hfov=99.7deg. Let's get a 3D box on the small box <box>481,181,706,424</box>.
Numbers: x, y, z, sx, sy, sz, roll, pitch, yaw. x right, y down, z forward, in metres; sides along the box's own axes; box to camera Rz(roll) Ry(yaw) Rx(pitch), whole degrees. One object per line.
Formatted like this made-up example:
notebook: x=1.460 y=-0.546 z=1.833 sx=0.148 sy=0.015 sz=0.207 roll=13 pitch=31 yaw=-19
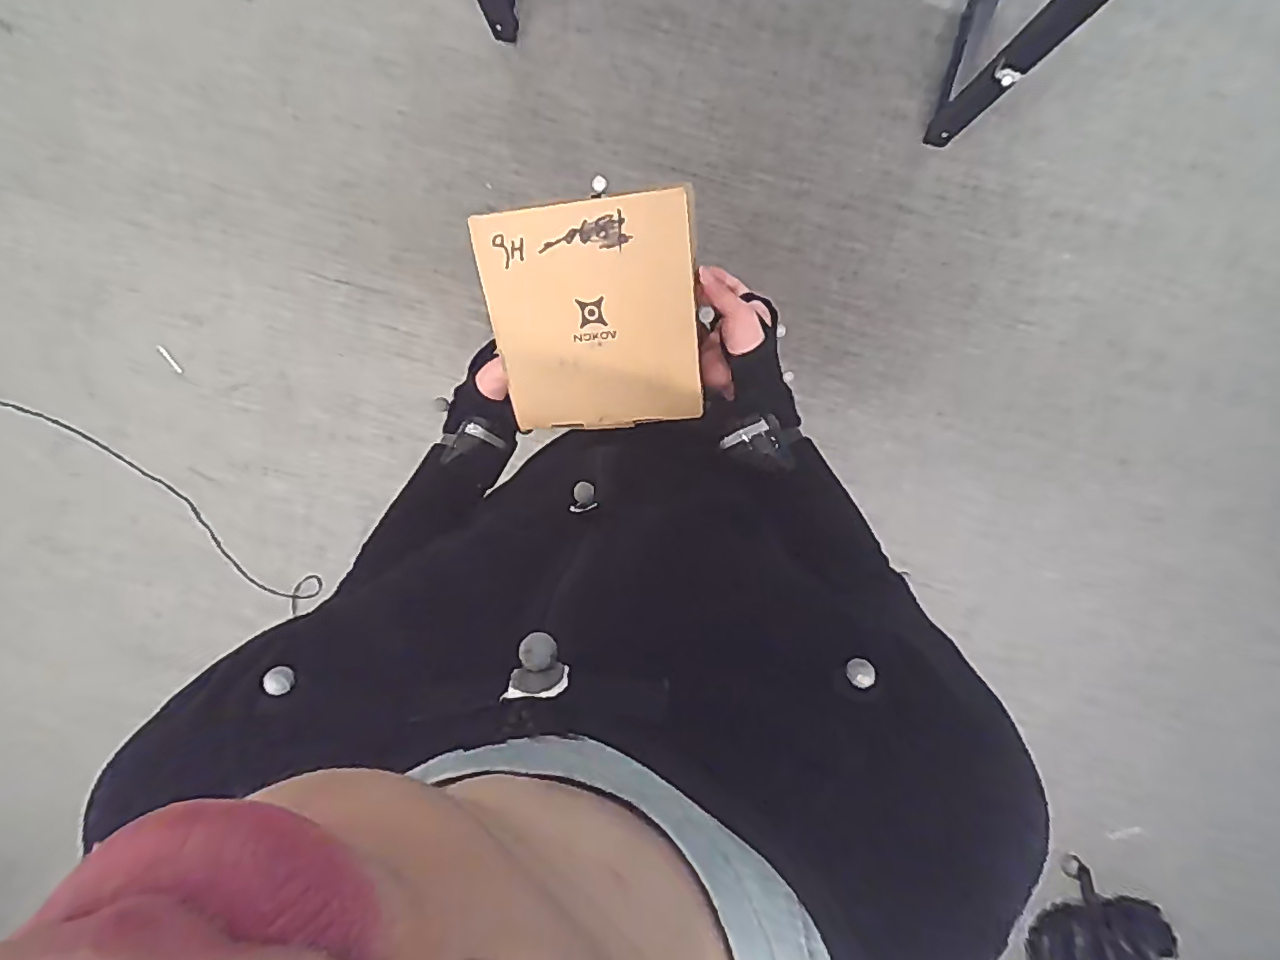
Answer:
small box: x=-0.024 y=-0.170 z=0.509 sx=0.168 sy=0.176 sz=0.179 roll=-3 pitch=121 yaw=8
